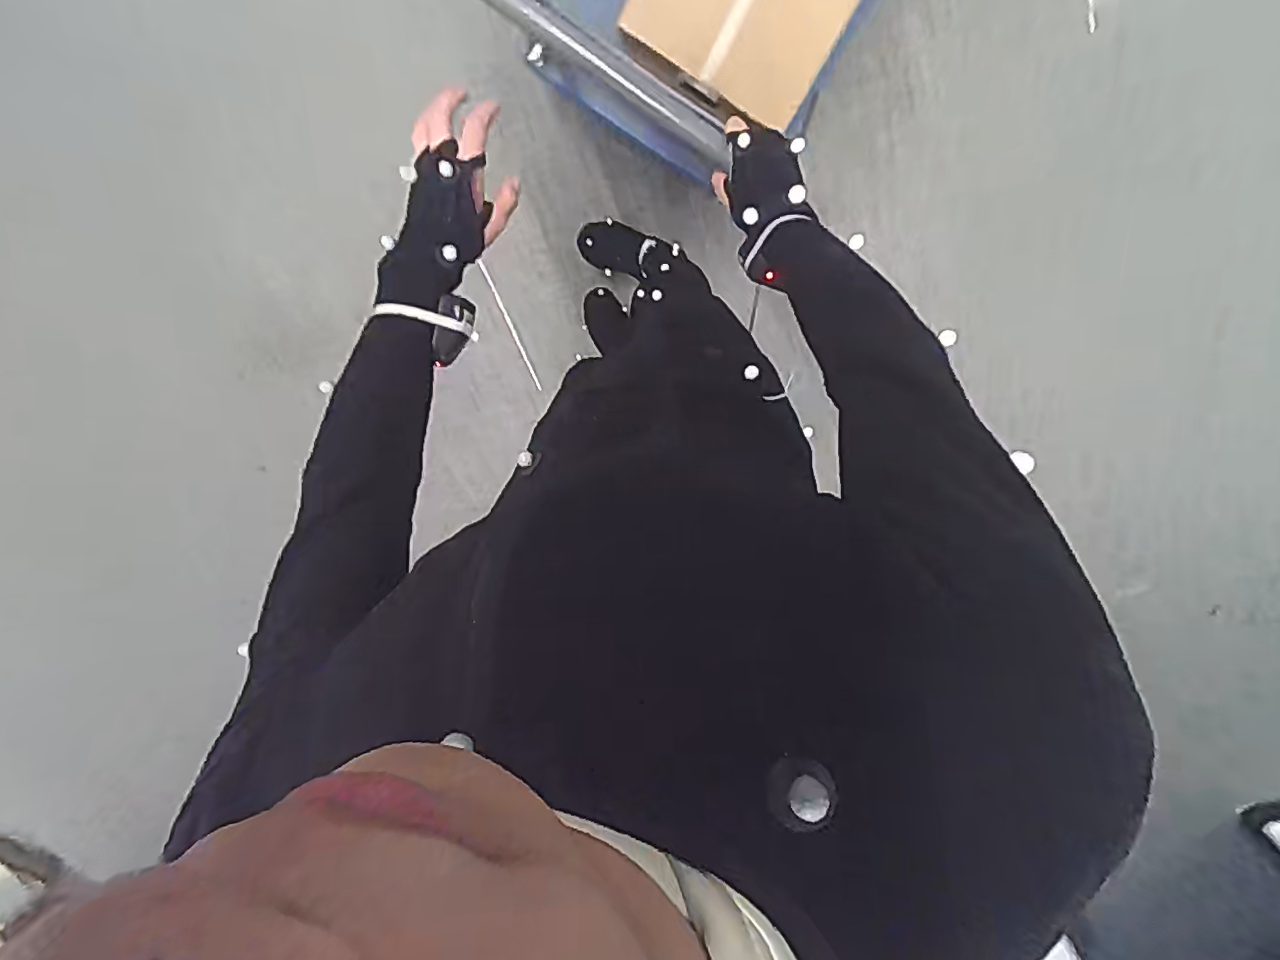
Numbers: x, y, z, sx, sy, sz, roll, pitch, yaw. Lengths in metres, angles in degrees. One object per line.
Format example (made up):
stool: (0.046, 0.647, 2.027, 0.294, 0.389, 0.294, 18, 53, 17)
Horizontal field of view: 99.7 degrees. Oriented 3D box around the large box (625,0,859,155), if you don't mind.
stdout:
large box: (0.201, -0.859, 0.934, 0.320, 0.320, 0.408, 26, 113, -12)
